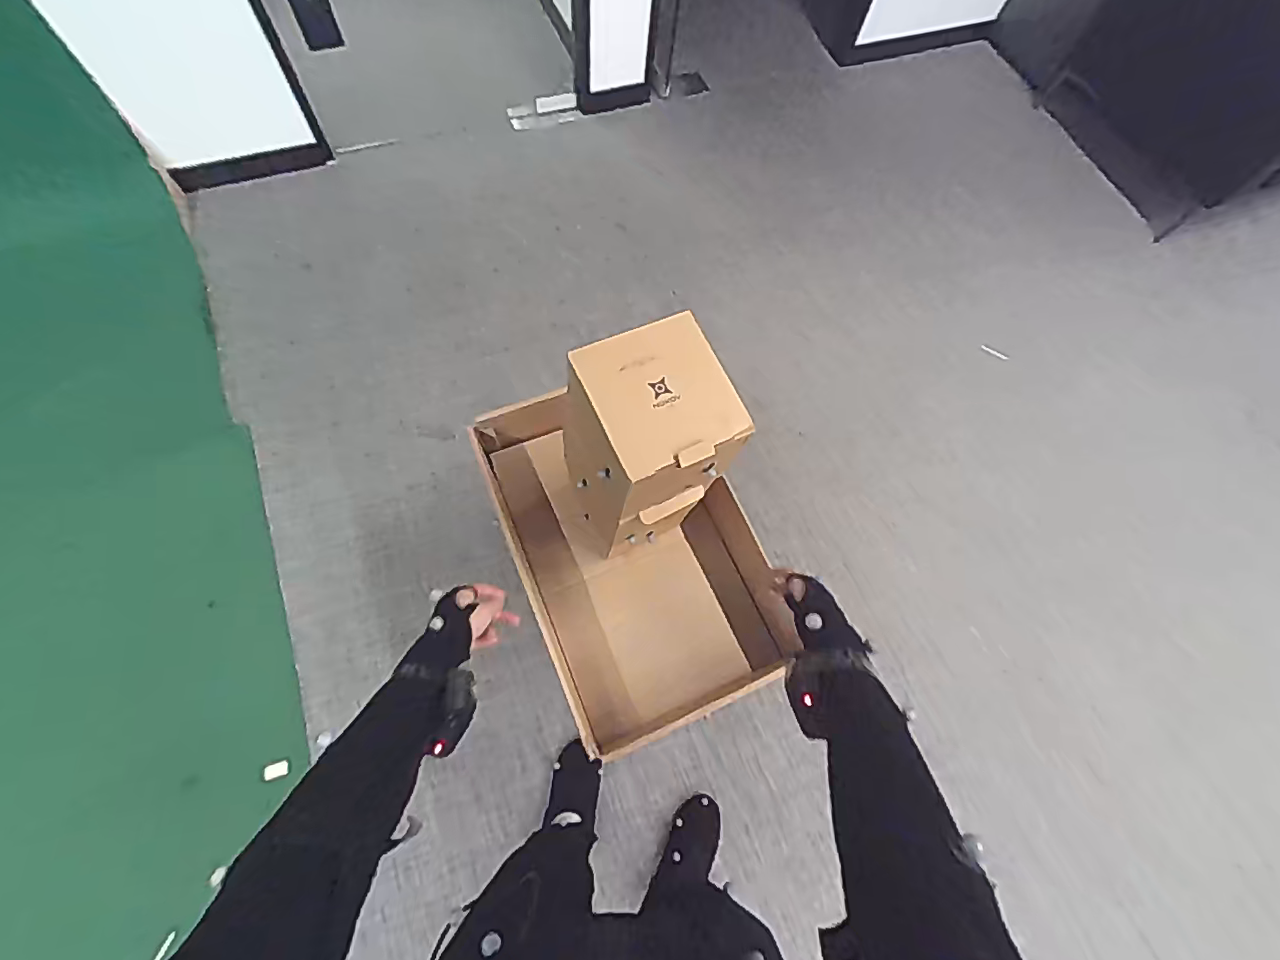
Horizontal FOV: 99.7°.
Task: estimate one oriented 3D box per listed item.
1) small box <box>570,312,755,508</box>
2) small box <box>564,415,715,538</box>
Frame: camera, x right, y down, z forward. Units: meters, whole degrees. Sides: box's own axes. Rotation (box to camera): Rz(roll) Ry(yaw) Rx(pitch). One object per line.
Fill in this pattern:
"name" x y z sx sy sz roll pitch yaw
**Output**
"small box" 0.018 -0.077 0.699 0.168 0.176 0.179 -22 76 -14
"small box" -0.008 -0.023 0.850 0.168 0.176 0.179 -25 76 -15
